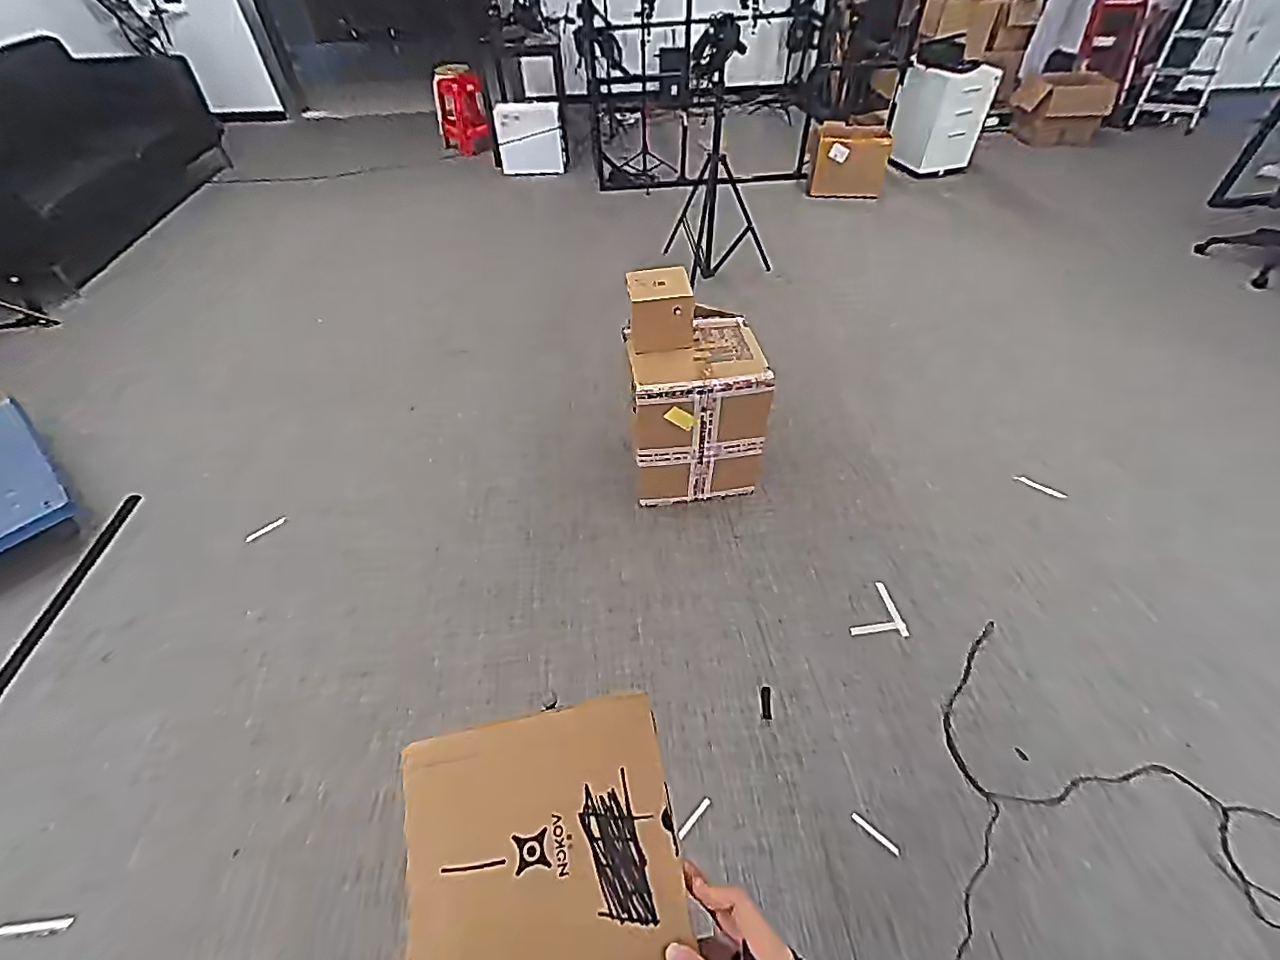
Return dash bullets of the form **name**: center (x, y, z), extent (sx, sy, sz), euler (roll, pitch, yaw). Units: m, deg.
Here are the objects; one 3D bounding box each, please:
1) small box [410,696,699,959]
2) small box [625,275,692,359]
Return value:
- **small box**: center (-0.067, 0.275, 0.435), extent (0.179, 0.176, 0.168), euler (-9, 69, -7)
- **small box**: center (0.052, -0.475, 1.584), extent (0.179, 0.176, 0.168), euler (-7, 48, -1)
